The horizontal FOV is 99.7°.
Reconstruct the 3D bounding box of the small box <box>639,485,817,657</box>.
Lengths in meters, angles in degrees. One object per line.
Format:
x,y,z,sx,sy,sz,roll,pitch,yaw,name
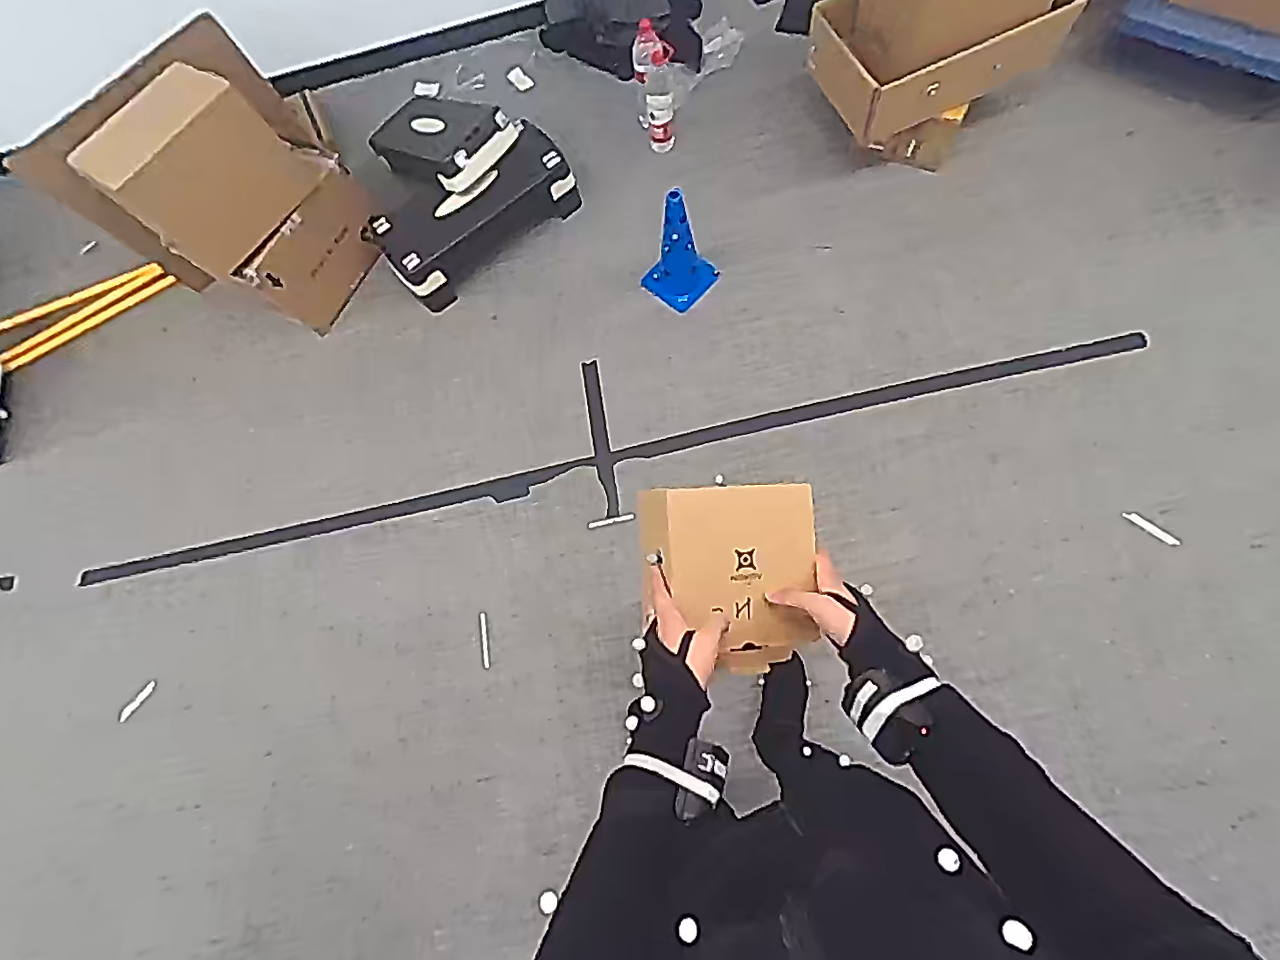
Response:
0.094,0.099,0.653,0.168,0.176,0.179,-2,89,-11,small box
